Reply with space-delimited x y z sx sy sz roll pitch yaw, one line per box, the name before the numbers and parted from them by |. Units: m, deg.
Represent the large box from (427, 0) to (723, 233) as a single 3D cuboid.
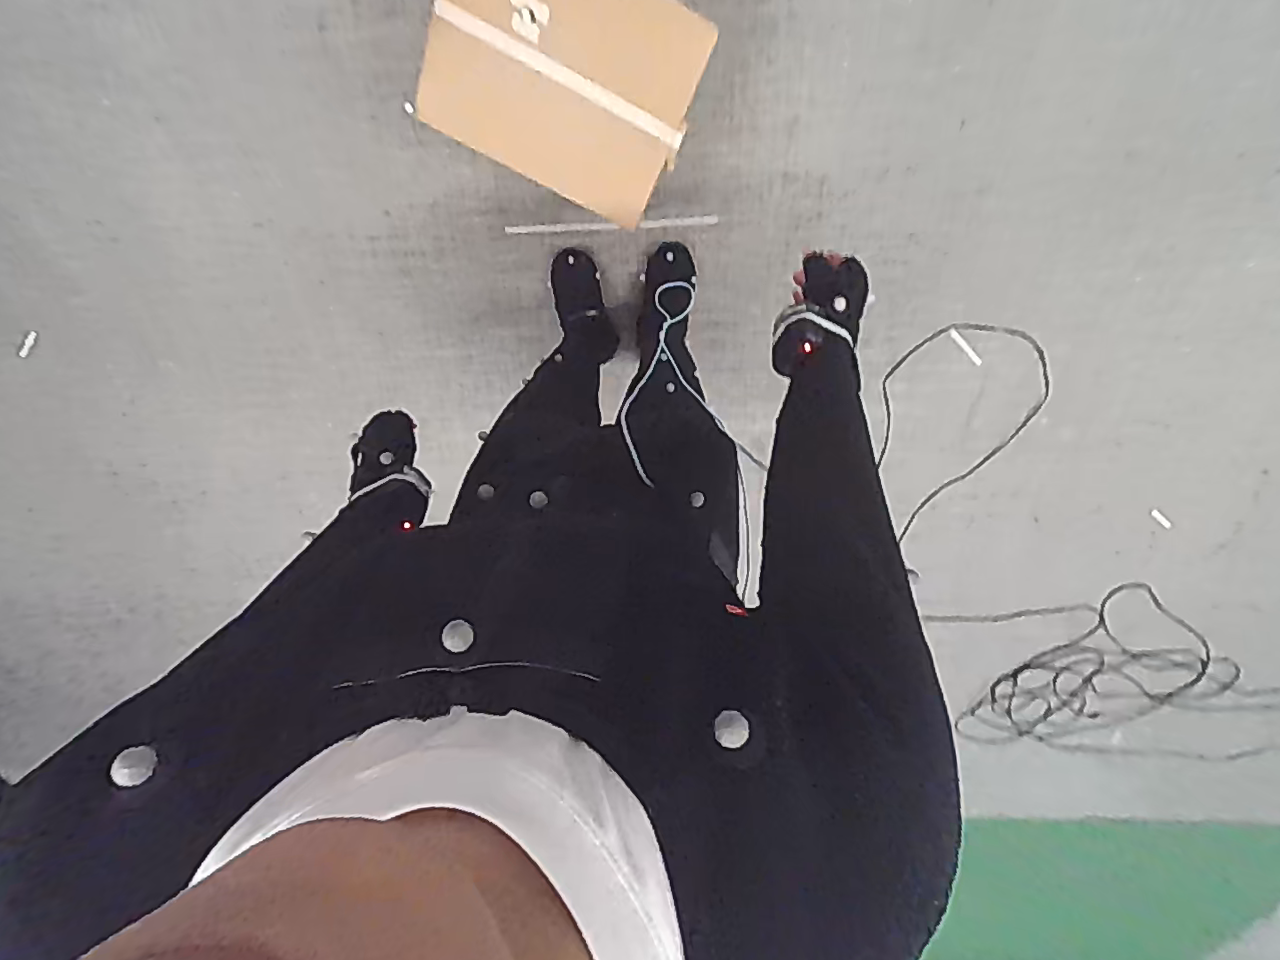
large box | -0.102 -0.705 0.979 0.408 0.320 0.320 23 120 -10
